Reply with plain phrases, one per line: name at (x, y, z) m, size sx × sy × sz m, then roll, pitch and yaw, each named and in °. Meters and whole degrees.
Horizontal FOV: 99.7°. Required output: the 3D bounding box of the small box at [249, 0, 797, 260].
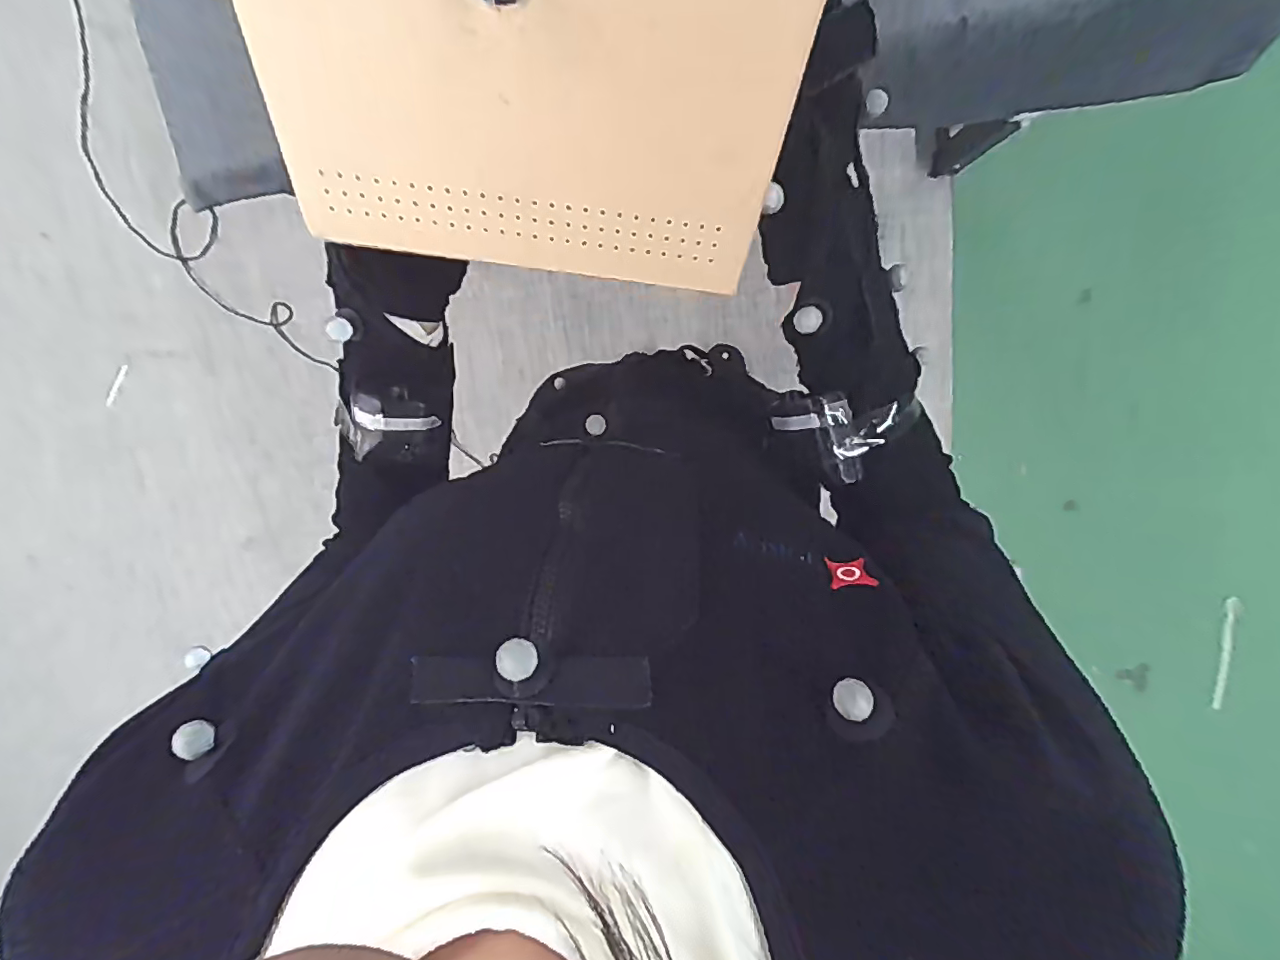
small box at (-0.034, -0.210, 0.216) m, size 0.179 × 0.168 × 0.176 m, roll 5°, pitch 139°, yaw -5°
